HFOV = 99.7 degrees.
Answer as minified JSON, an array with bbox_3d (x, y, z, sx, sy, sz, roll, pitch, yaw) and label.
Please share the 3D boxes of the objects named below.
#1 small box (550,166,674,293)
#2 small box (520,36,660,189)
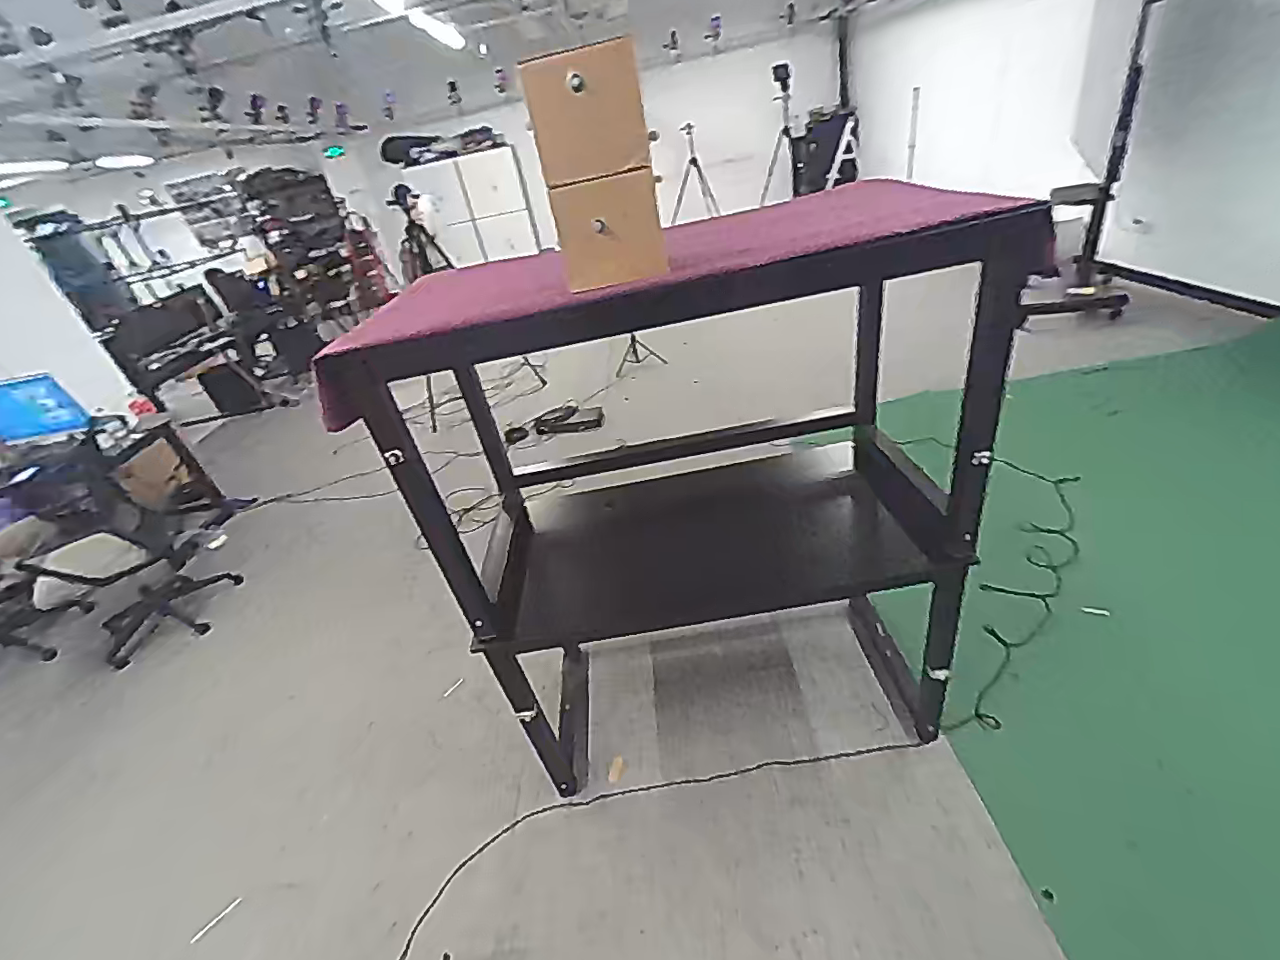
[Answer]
[{"bbox_3d":[-0.041,-0.444,0.960,0.179,0.176,0.168,-10,31,7],"label":"small box"},{"bbox_3d":[-0.070,-0.582,0.876,0.179,0.176,0.168,-8,32,8],"label":"small box"}]
